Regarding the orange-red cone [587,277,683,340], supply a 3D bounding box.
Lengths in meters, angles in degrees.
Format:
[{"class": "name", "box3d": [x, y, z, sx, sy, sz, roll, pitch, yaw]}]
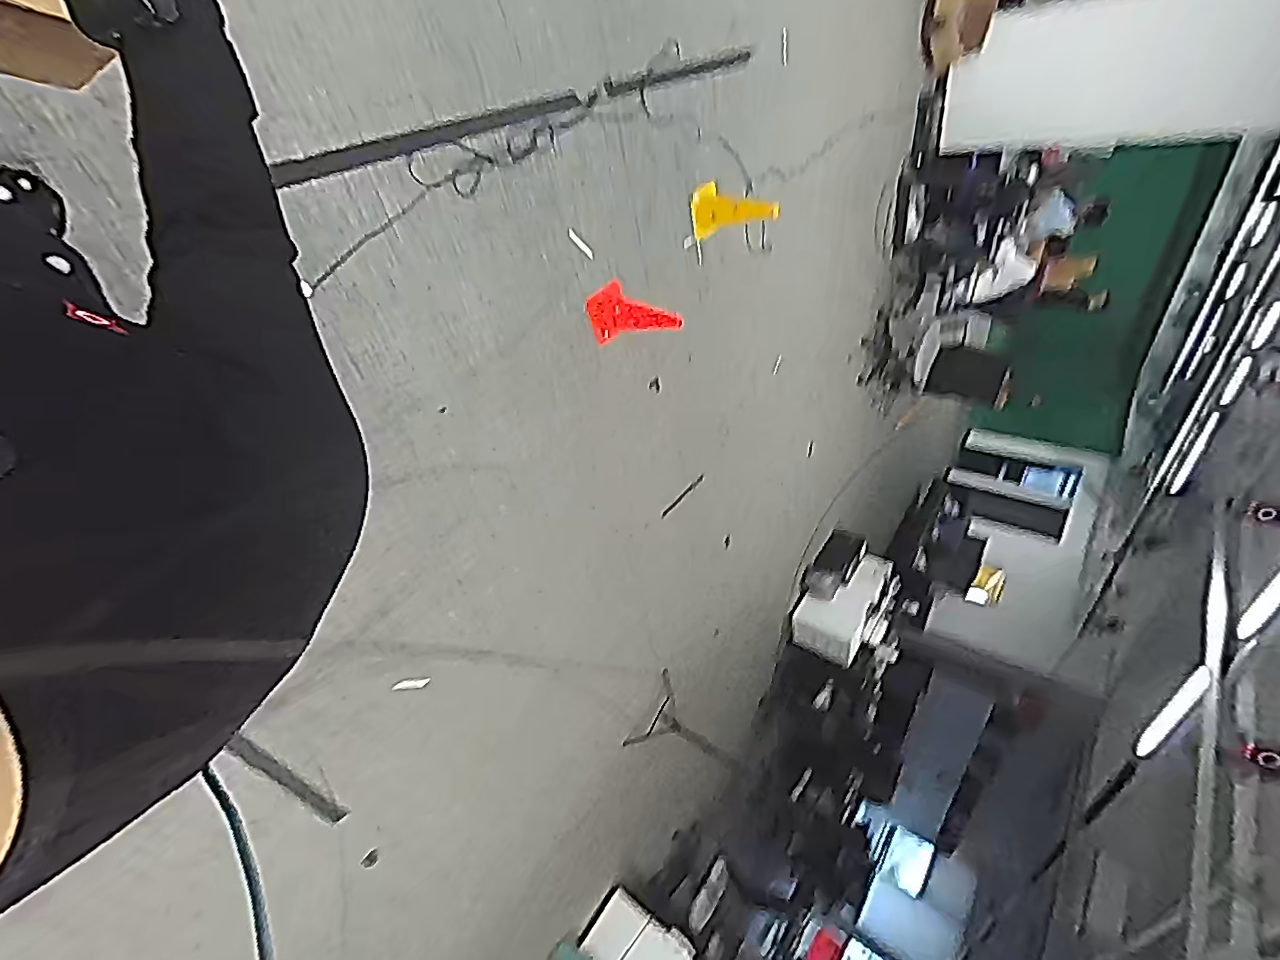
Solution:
[{"class": "orange-red cone", "box3d": [0.006, -0.626, 2.023, 0.199, 0.360, 0.198, -47, 139, -32]}]

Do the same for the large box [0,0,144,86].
[{"class": "large box", "box3d": [-0.574, -0.462, 0.273, 0.408, 0.320, 0.320, -15, 120, -48]}]
